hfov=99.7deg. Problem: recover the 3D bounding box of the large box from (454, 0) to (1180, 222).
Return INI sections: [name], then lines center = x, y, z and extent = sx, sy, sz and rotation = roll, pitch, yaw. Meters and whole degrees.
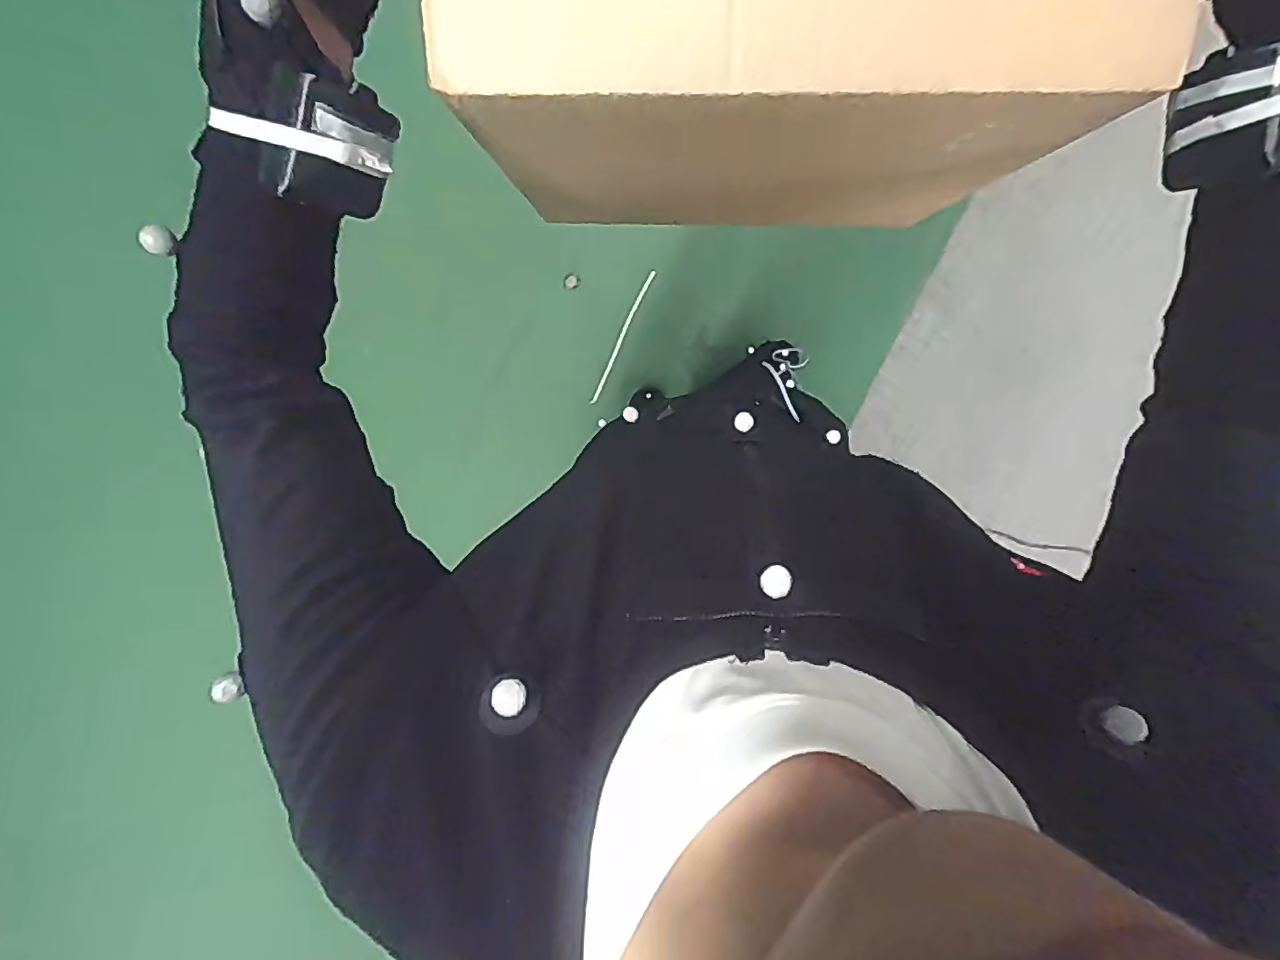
[large box]
center = 0.096, -0.404, 0.417
extent = 0.408, 0.320, 0.320
rotation = 1, 104, 2
